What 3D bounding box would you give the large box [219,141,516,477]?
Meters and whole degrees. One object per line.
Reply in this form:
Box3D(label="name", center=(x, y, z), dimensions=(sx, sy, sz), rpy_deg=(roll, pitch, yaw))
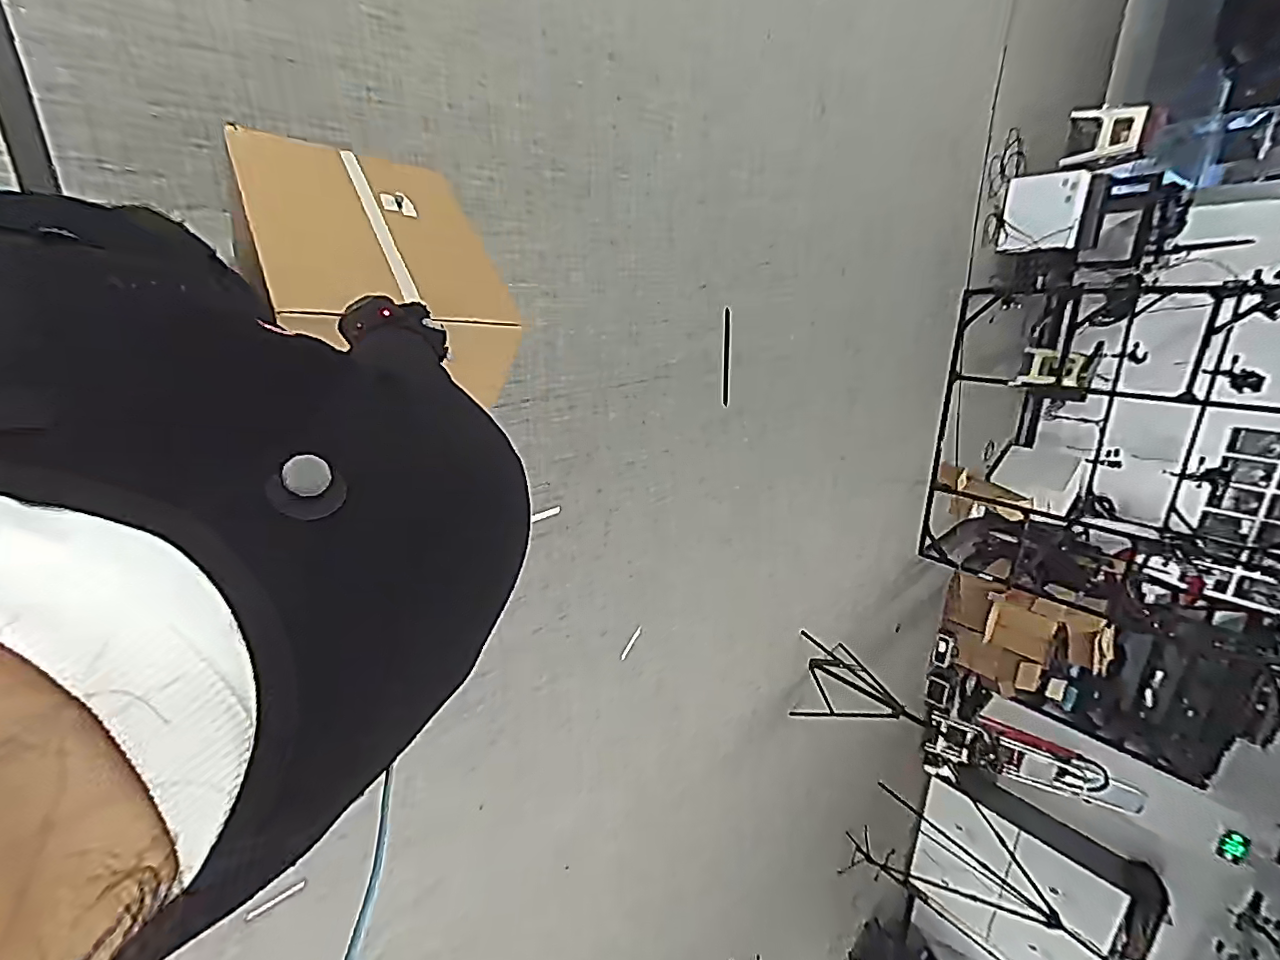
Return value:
Box3D(label="large box", center=(-0.460, -0.266, 0.893), dimensions=(0.320, 0.408, 0.320), rpy_deg=(-9, 147, -41))
